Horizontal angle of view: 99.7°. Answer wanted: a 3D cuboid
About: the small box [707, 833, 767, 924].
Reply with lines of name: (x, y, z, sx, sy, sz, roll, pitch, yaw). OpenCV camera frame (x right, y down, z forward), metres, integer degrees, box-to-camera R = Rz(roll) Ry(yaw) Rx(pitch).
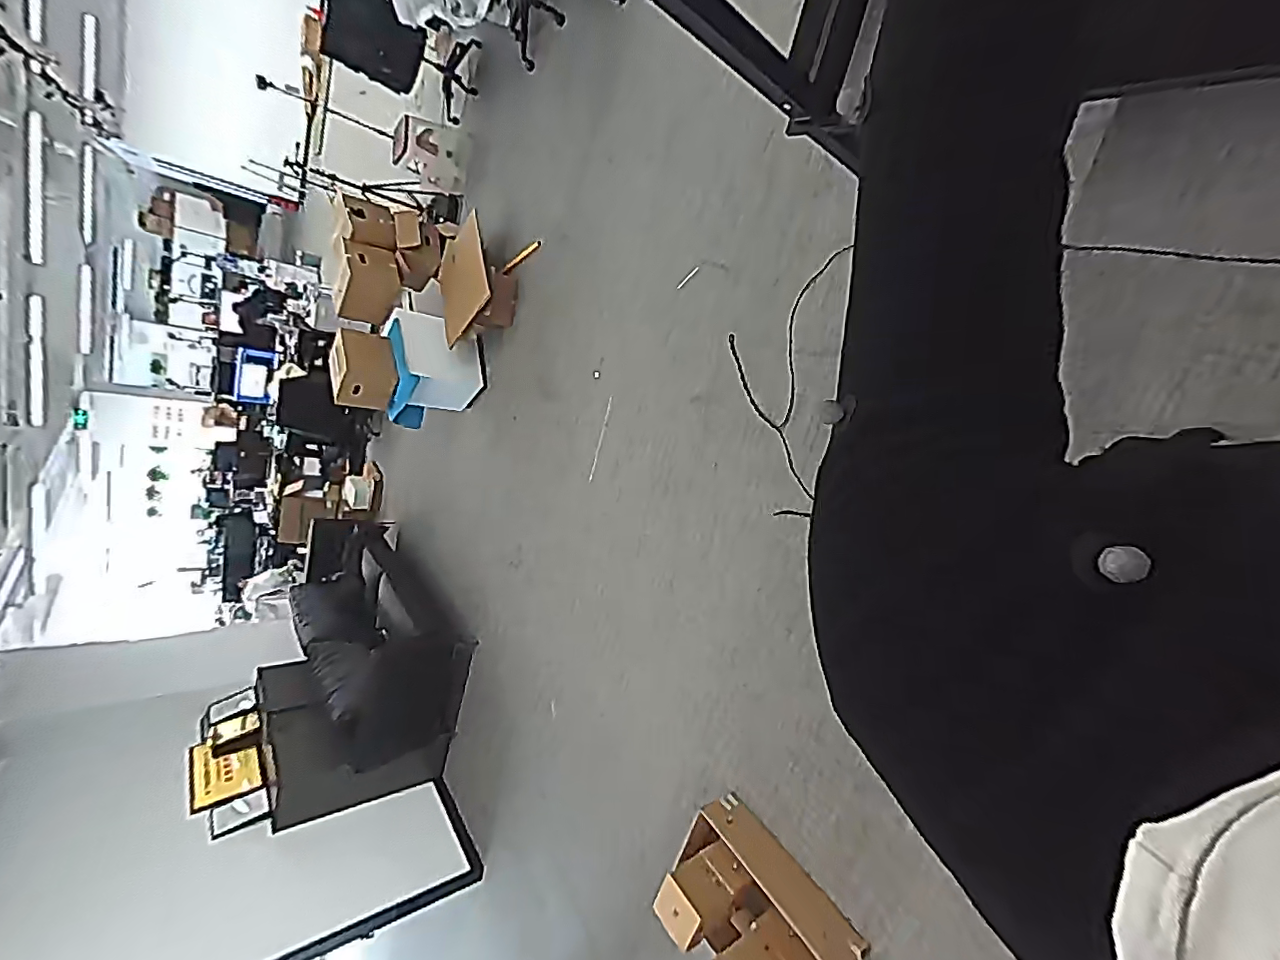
small box: (0.329, 1.423, 1.943, 0.168, 0.176, 0.179, 32, 112, 45)

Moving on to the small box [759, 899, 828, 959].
small box: (0.483, 1.524, 1.758, 0.168, 0.176, 0.179, 32, 112, 47)

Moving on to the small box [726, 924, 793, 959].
small box: (0.360, 1.522, 1.648, 0.168, 0.176, 0.179, 38, 117, 43)

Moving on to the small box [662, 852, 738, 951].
small box: (0.206, 1.422, 1.835, 0.168, 0.176, 0.179, 34, 113, 42)
